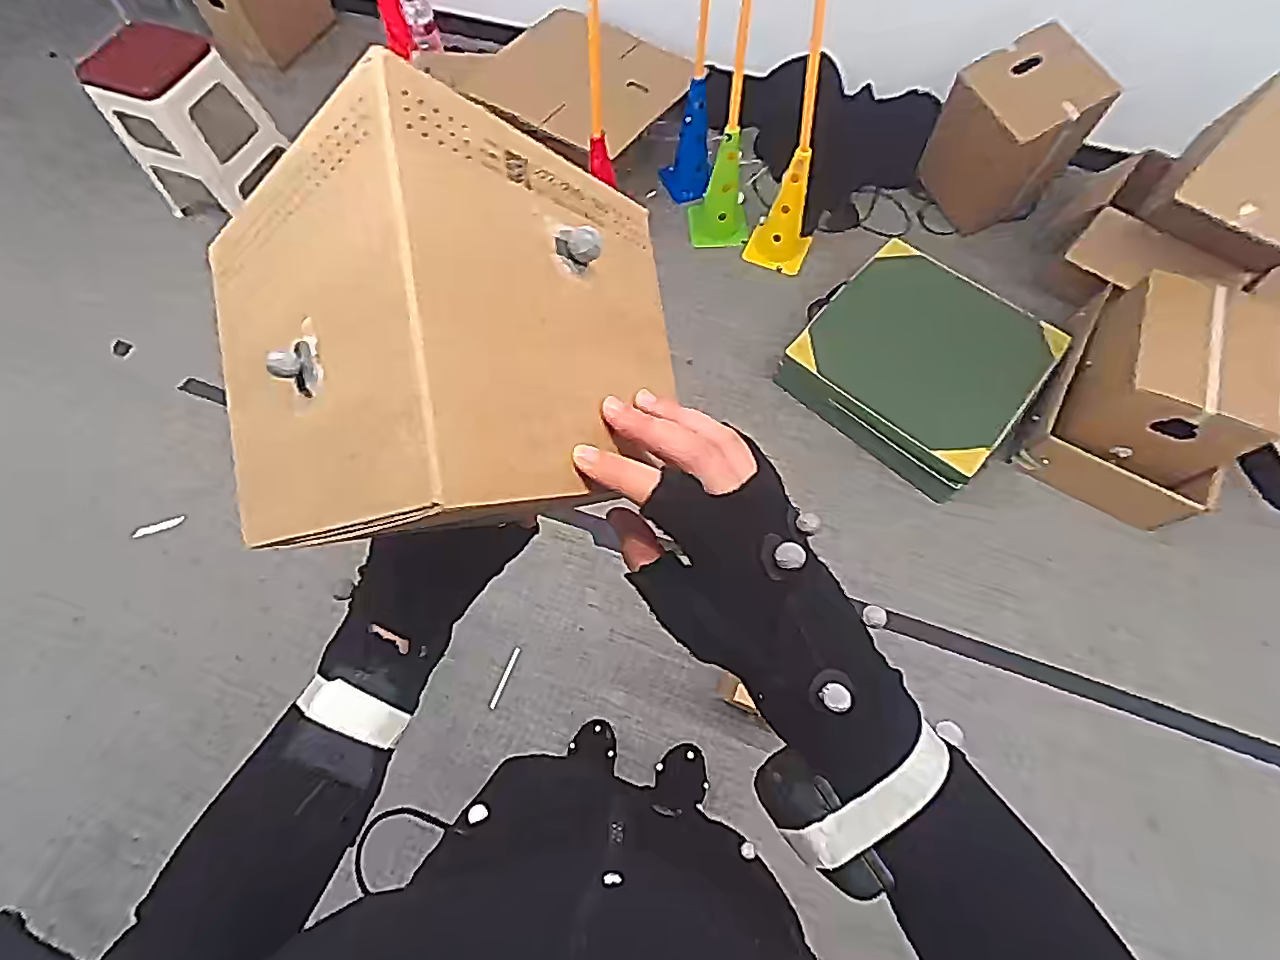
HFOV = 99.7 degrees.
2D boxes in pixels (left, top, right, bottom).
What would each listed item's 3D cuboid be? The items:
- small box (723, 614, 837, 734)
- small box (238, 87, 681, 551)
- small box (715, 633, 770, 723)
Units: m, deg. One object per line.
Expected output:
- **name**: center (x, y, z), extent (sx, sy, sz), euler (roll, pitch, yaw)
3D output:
- **small box**: center (0.281, 0.401, 1.119), extent (0.168, 0.176, 0.179), euler (22, 70, 10)
- **small box**: center (-0.099, -0.059, 0.305), extent (0.179, 0.168, 0.176), euler (-12, 86, 35)
- **small box**: center (0.292, 0.464, 1.269), extent (0.179, 0.176, 0.168), euler (23, 68, 8)
